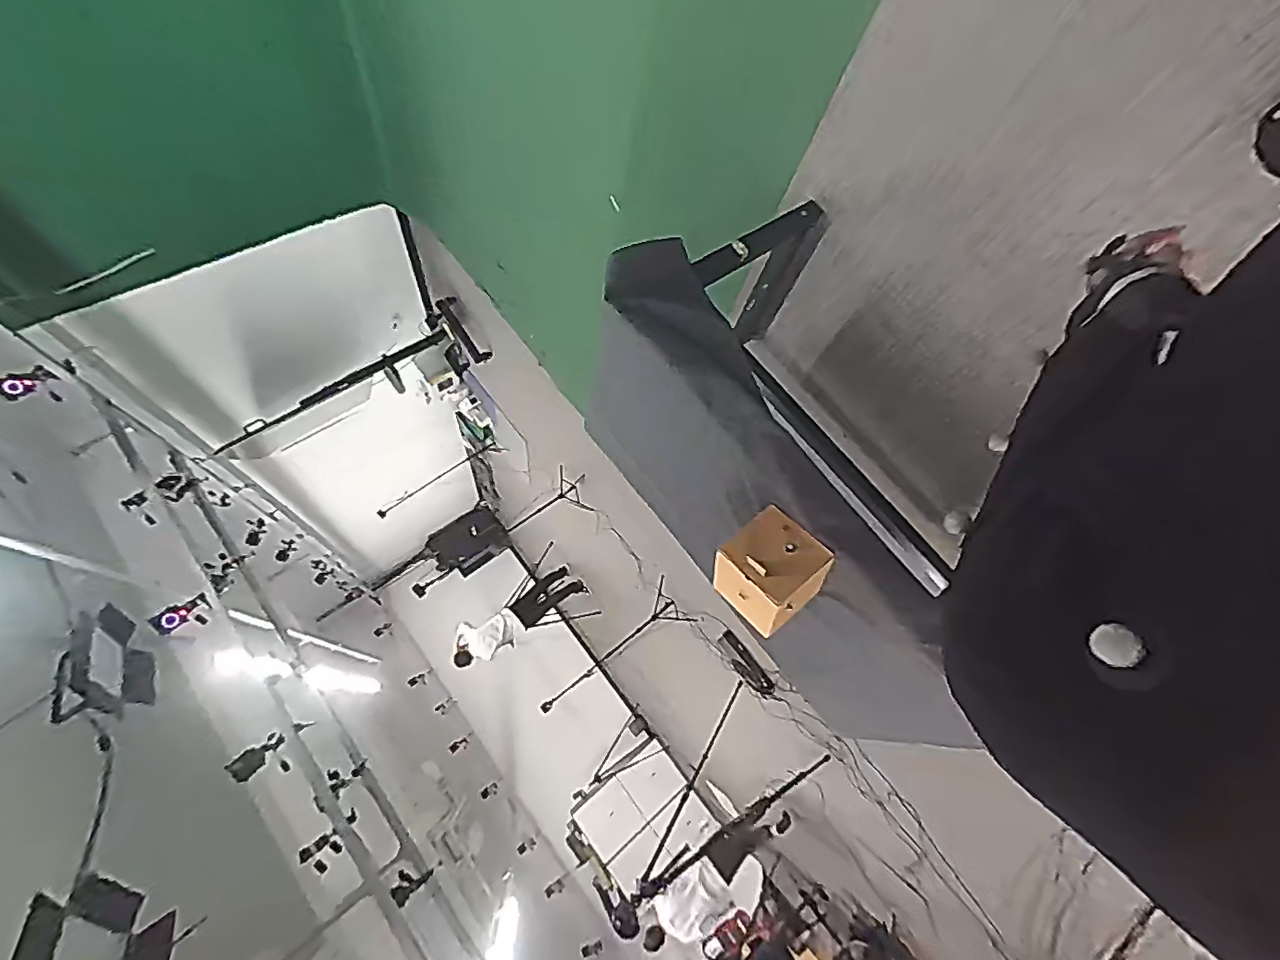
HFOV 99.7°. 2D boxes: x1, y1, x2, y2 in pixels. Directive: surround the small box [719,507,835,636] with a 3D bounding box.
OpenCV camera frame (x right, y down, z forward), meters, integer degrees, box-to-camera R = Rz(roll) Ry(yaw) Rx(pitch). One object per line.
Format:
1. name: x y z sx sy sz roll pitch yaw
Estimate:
1. small box: 0.290 0.194 1.157 0.168 0.176 0.179 43 157 29
